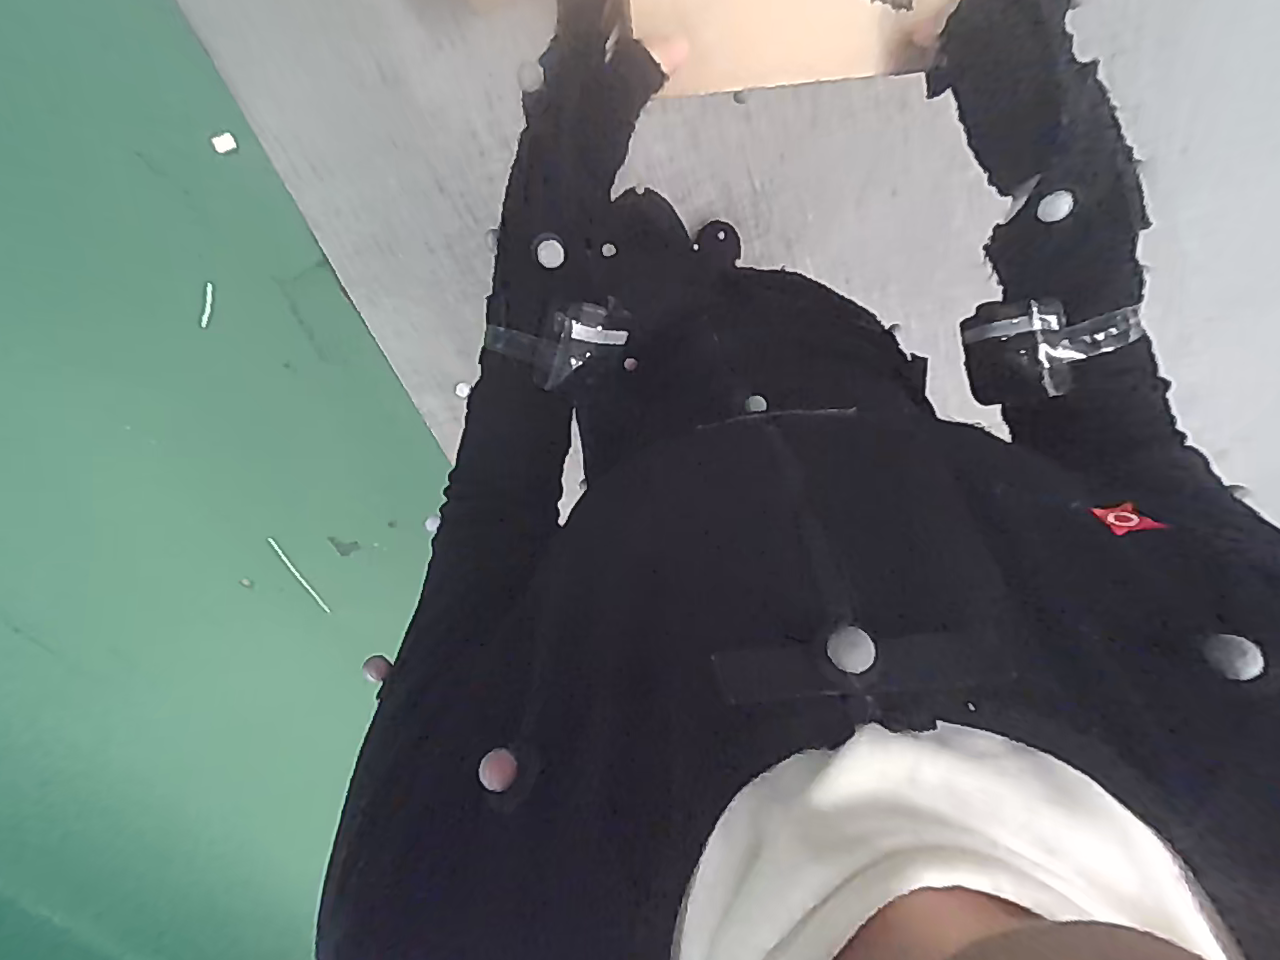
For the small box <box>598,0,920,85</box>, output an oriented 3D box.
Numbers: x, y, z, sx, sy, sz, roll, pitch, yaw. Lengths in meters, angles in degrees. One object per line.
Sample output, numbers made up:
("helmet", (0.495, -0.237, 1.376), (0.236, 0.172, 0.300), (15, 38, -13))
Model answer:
("small box", (0.062, -0.356, 0.328), (0.179, 0.176, 0.168), (-7, 131, -2))
